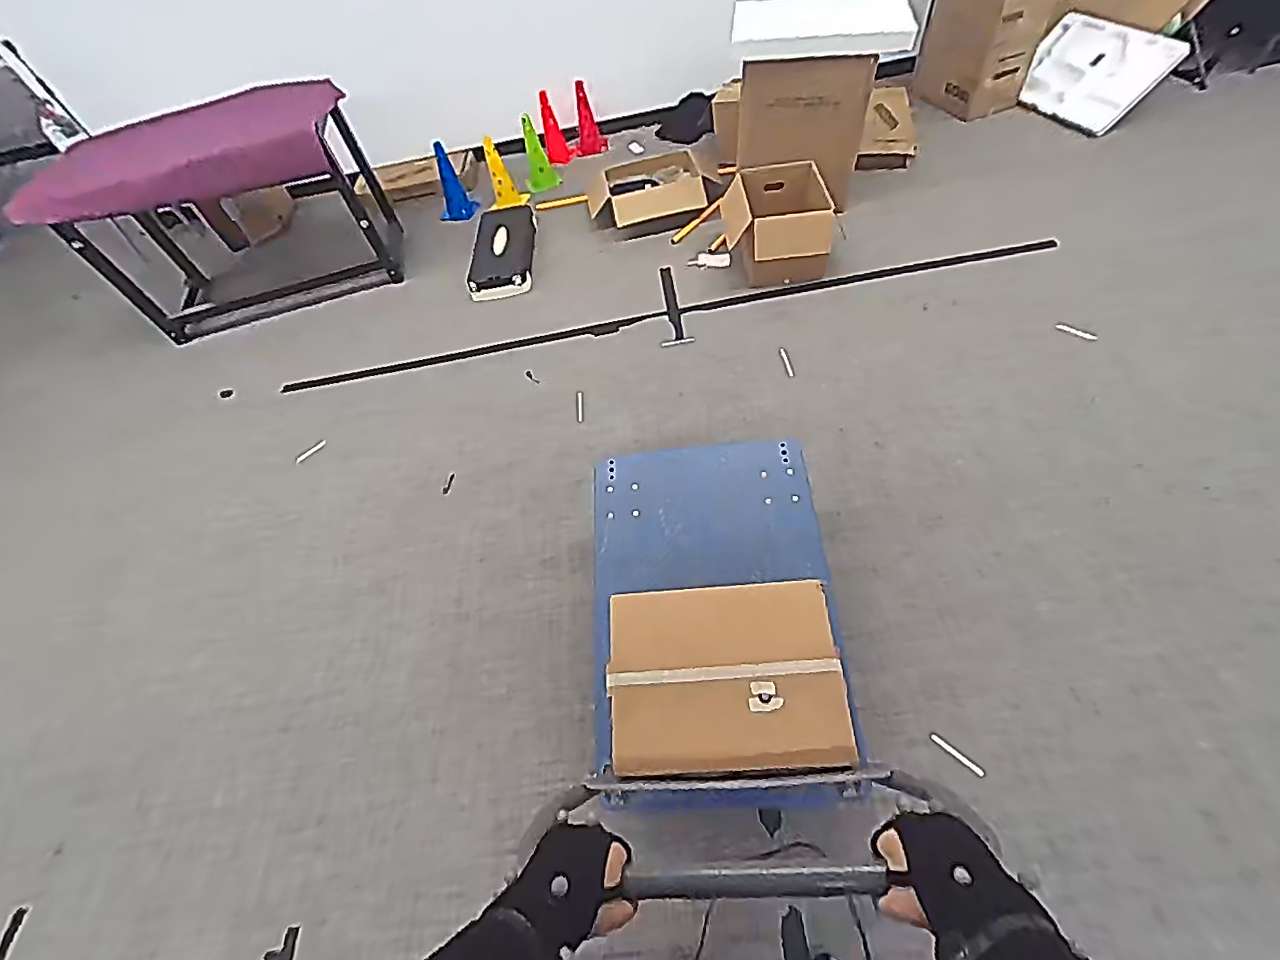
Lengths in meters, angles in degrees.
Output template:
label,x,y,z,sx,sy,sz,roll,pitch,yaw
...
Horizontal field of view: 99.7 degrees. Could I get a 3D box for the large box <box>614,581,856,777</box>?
label,x,y,z,sx,sy,sz,roll,pitch,yaw
large box,0.169,0.420,1.108,0.408,0.320,0.320,-5,62,4
